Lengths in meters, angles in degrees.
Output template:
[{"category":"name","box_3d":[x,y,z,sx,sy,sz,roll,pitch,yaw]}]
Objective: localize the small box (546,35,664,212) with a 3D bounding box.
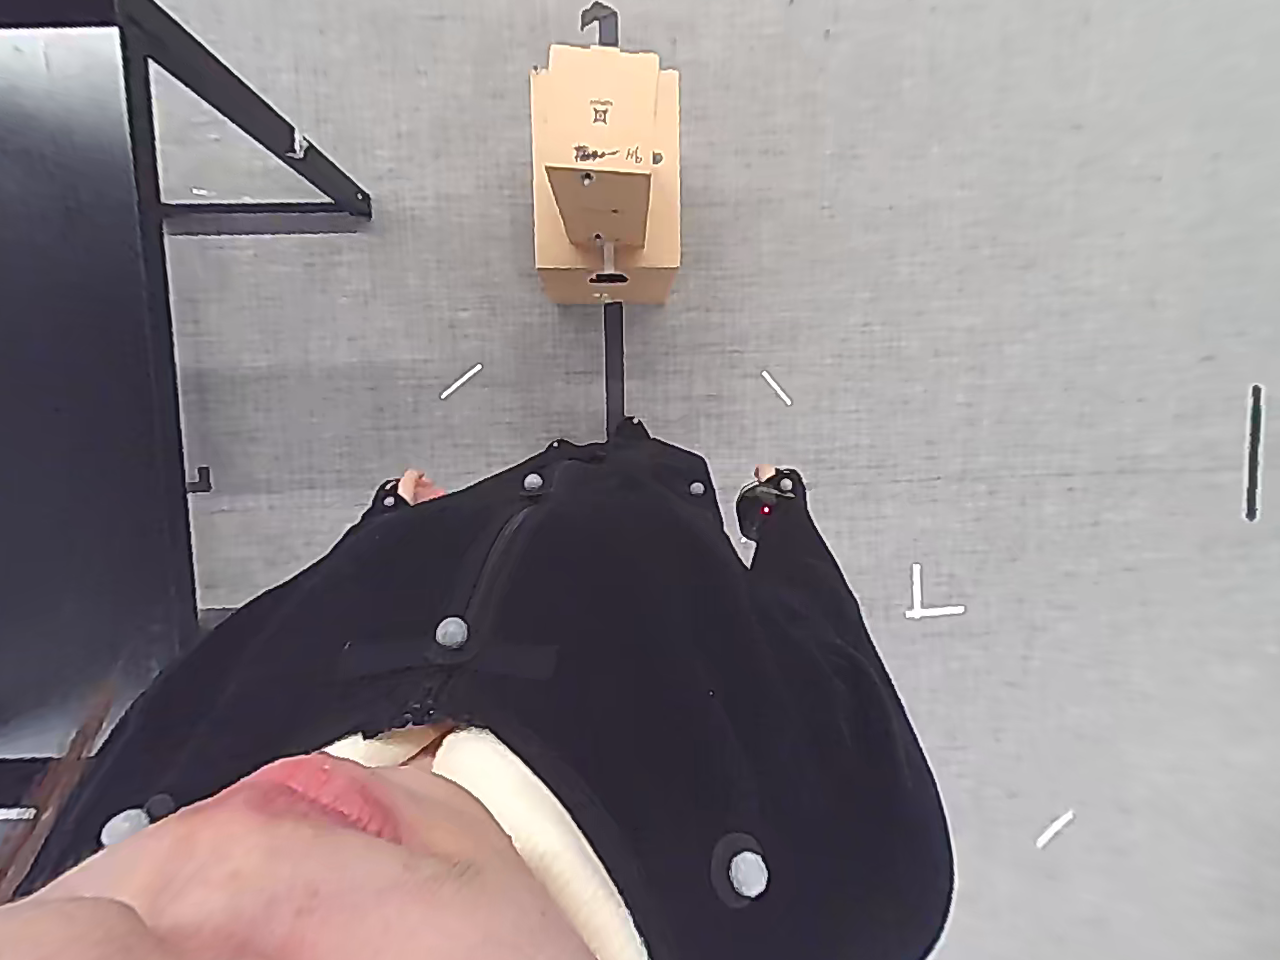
[{"category":"small box","box_3d":[-0.054,-0.566,0.878,0.168,0.176,0.179,4,94,-1]}]

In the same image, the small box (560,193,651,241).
[{"category":"small box","box_3d":[-0.061,-0.585,1.041,0.168,0.176,0.179,3,96,-1]}]

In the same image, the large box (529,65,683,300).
[{"category":"large box","box_3d":[-0.074,-0.669,1.278,0.320,0.320,0.408,-1,95,-3]}]
